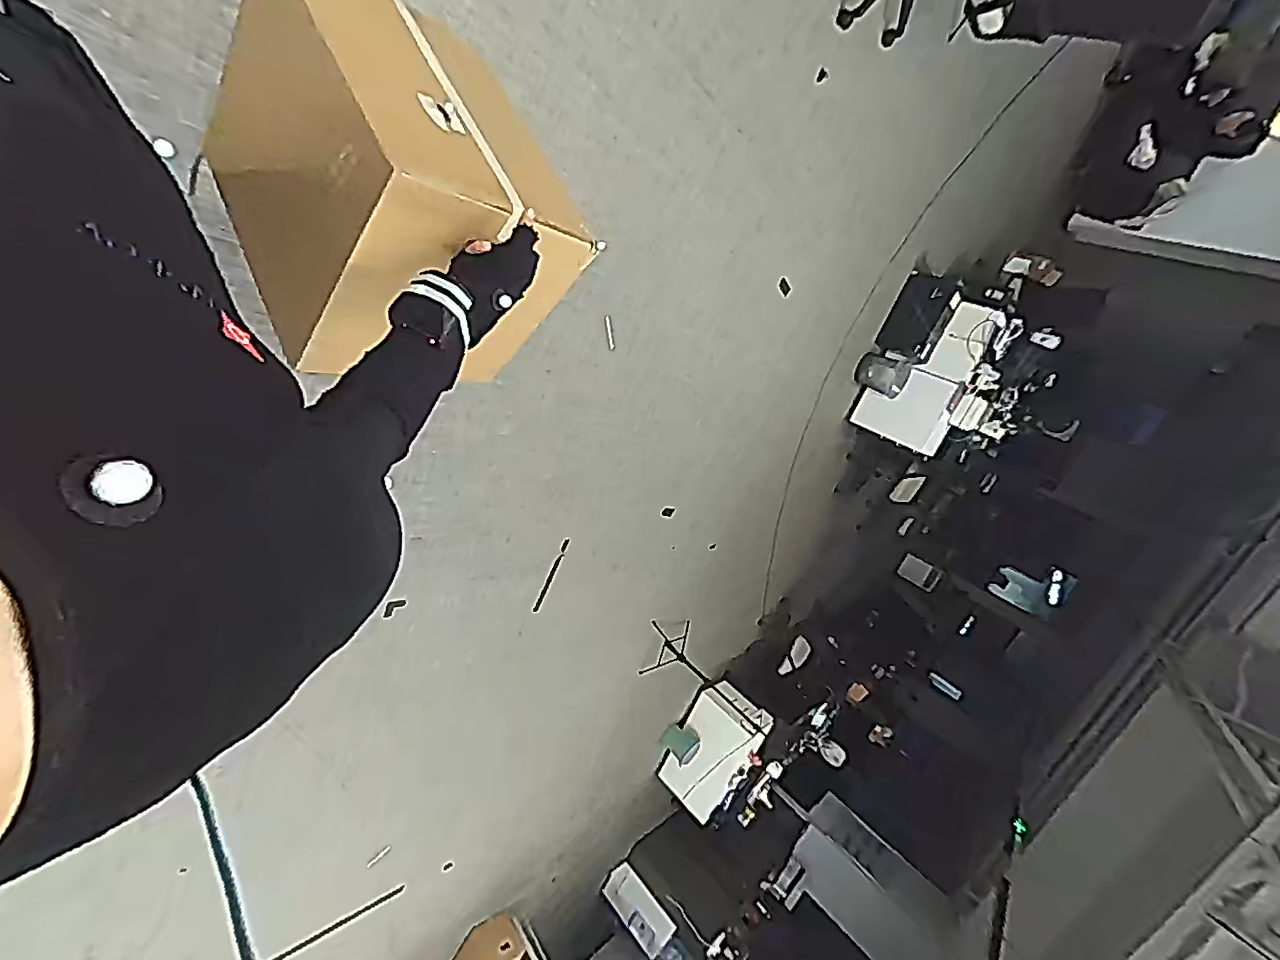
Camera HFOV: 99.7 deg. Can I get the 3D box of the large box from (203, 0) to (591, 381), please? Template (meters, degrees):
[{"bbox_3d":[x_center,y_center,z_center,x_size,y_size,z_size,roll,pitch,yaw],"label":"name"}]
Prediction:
[{"bbox_3d":[-0.349,-0.402,0.772,0.320,0.408,0.320,-38,164,33],"label":"large box"}]
